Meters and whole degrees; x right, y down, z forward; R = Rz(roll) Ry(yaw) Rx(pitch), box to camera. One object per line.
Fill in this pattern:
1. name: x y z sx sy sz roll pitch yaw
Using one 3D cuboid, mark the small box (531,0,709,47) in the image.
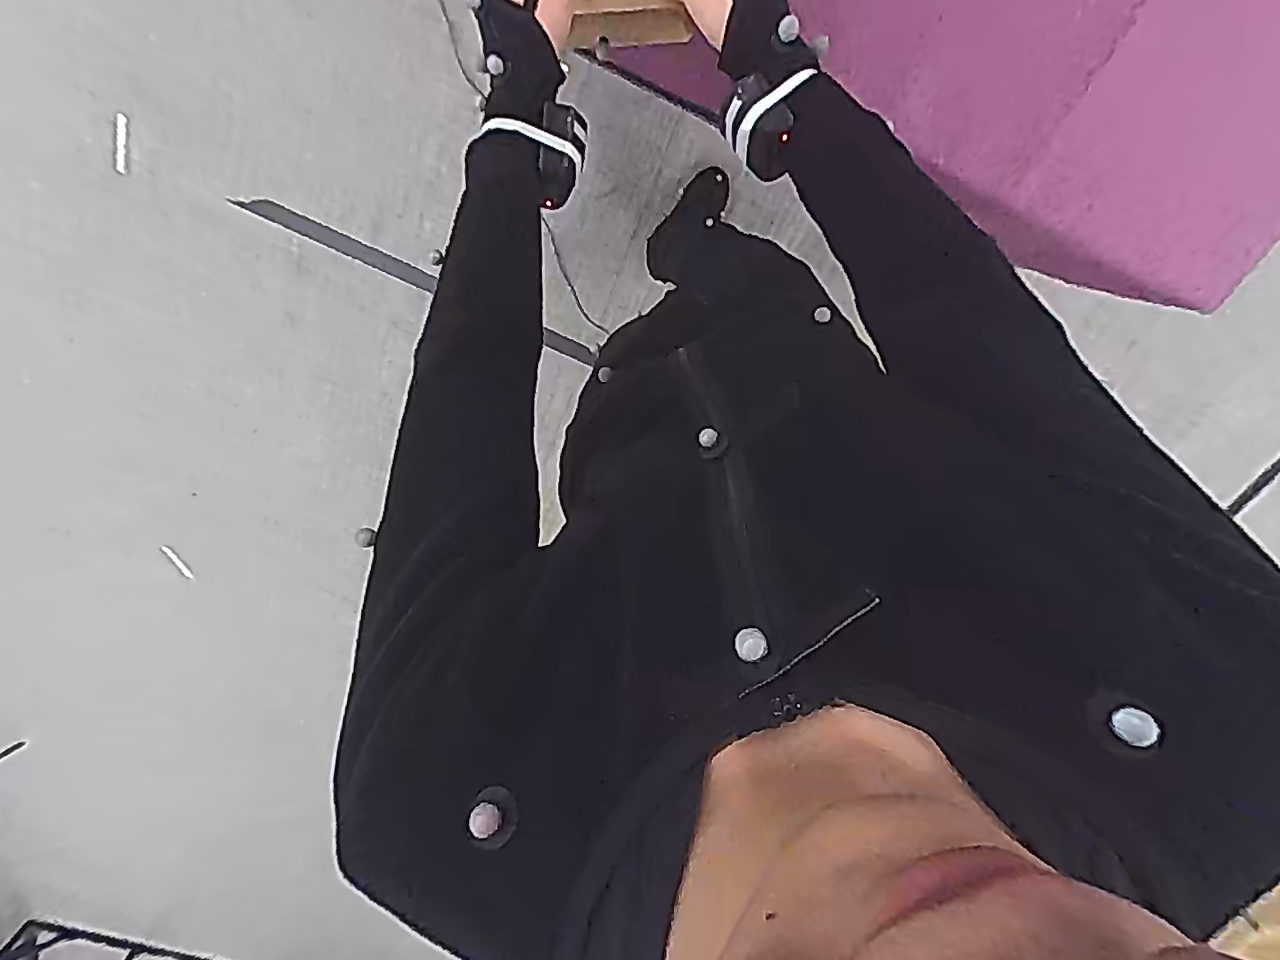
1. small box: -0.028 -0.532 0.501 0.168 0.176 0.179 -5 120 -2
